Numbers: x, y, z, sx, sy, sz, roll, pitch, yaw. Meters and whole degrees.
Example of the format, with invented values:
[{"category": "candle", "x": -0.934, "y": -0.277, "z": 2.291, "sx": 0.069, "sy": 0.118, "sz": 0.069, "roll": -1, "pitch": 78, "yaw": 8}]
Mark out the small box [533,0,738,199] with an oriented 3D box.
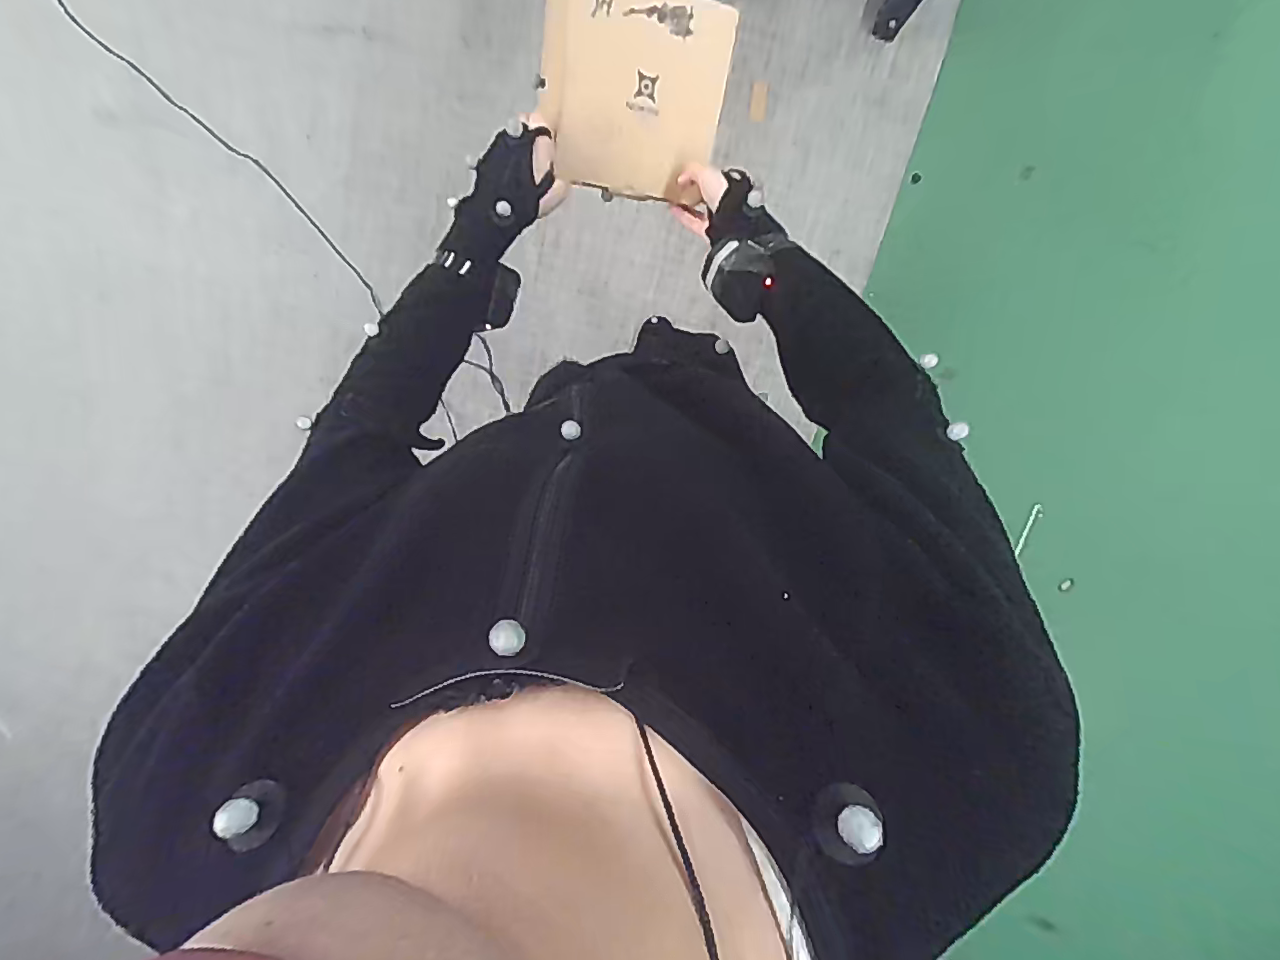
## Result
[{"category": "small box", "x": -0.021, "y": -0.426, "z": 0.585, "sx": 0.168, "sy": 0.176, "sz": 0.179, "roll": 0, "pitch": 123, "yaw": -19}]
